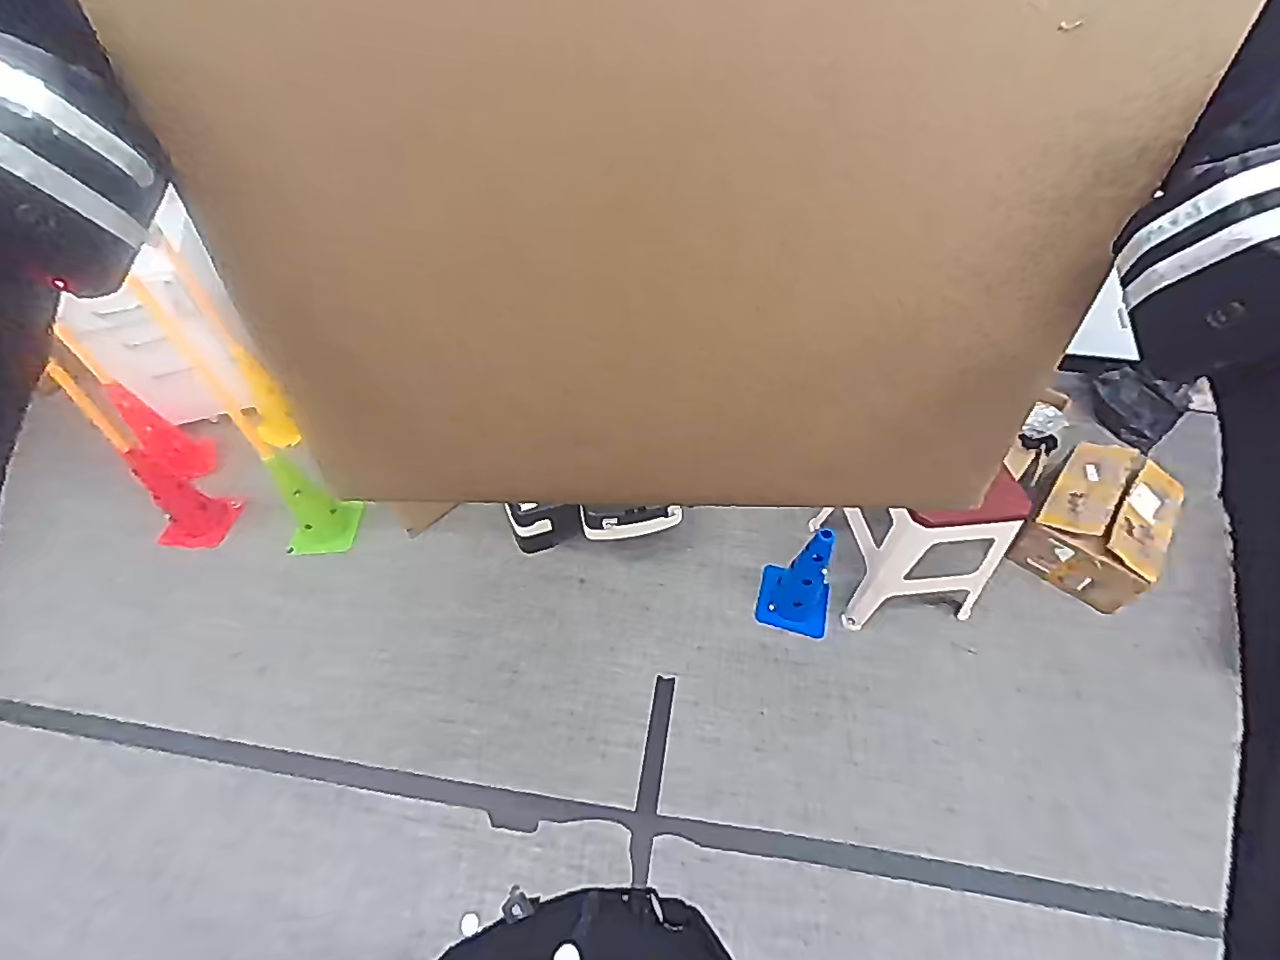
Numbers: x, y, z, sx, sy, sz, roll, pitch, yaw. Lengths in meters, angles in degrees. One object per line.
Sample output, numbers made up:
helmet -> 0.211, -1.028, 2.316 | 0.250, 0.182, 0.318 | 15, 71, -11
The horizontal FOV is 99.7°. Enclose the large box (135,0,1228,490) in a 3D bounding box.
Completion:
large box -> 0.012, -0.204, 0.358 | 0.408, 0.320, 0.320 | 2, 41, 0
